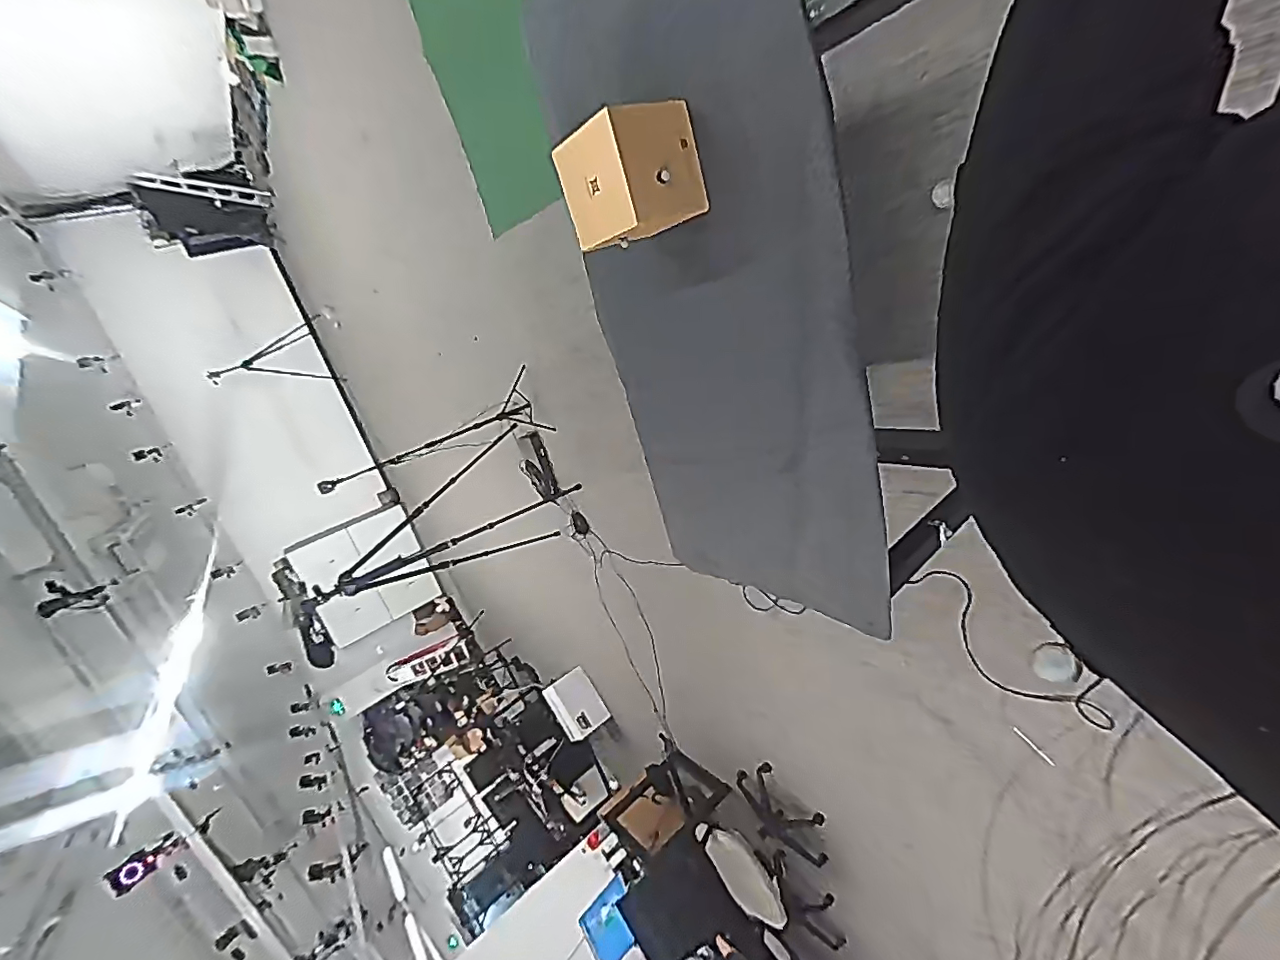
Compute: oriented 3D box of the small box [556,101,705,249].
[{"bbox_3d":[-0.009,-0.513,0.918,0.179,0.176,0.168,10,123,54],"label":"small box"}]
